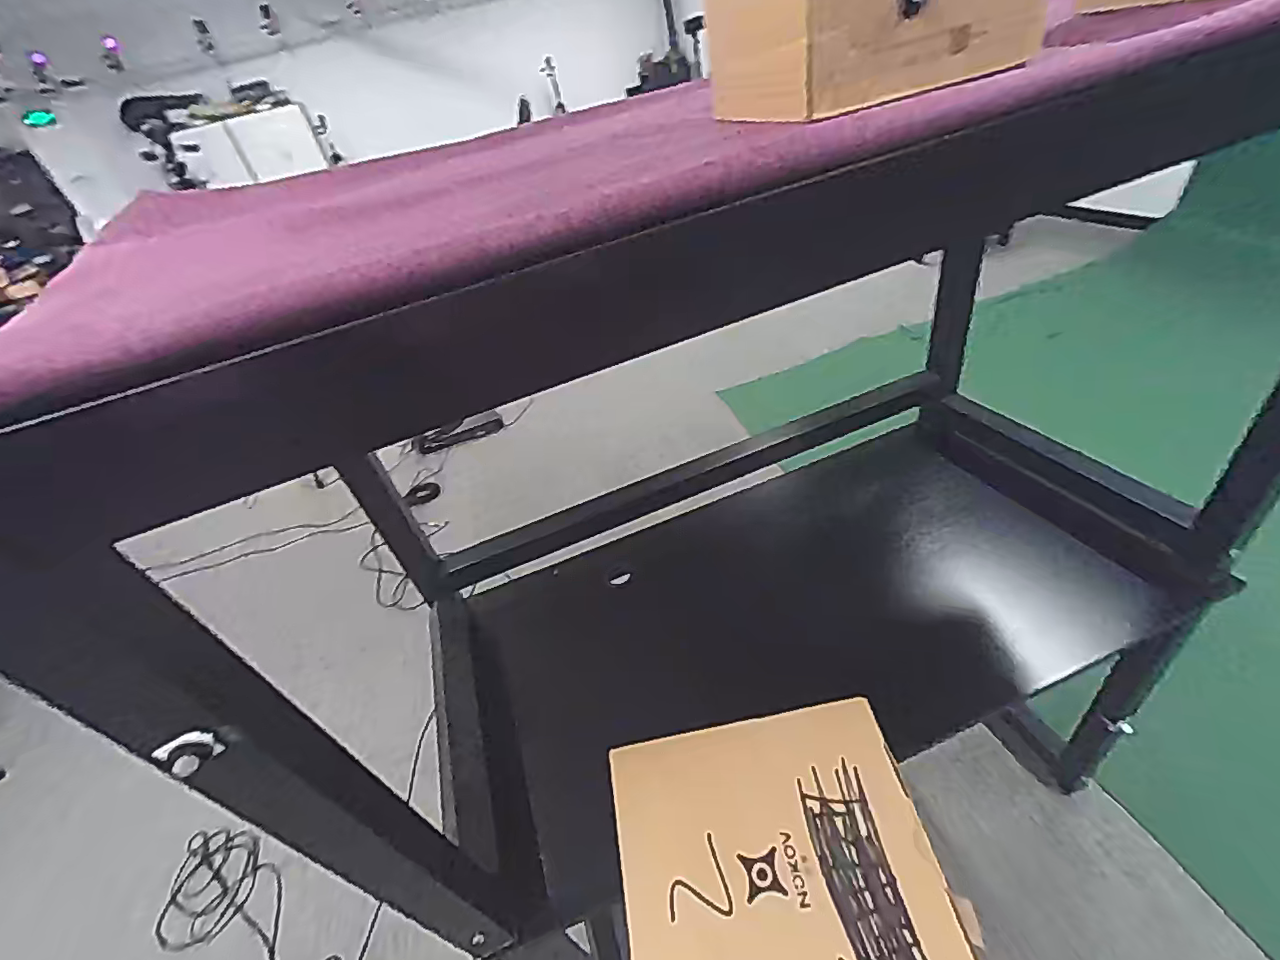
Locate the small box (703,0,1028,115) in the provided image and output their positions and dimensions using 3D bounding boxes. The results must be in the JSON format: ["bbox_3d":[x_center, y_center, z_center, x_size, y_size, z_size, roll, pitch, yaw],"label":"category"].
[{"bbox_3d":[0.143,-0.370,0.375,0.168,0.176,0.179,-19,37,-5],"label":"small box"}]
